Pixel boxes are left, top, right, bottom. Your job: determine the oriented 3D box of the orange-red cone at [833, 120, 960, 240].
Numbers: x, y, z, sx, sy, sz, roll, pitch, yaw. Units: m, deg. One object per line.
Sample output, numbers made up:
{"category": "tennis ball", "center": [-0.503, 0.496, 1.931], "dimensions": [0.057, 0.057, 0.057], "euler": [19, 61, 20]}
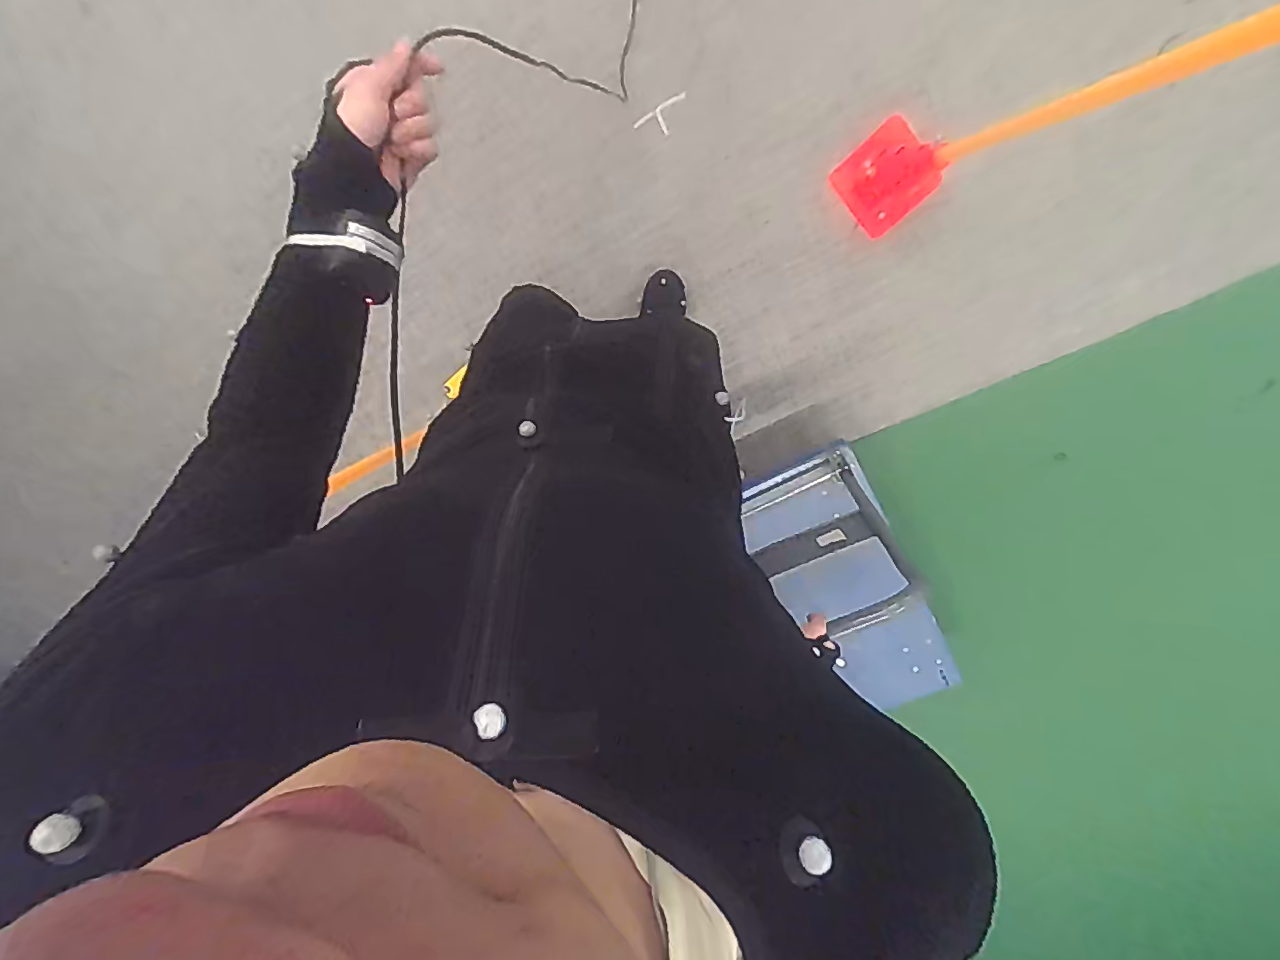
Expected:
{"category": "orange-red cone", "center": [0.574, -0.648, 1.136], "dimensions": [0.199, 0.360, 0.198], "euler": [-39, 104, 18]}
